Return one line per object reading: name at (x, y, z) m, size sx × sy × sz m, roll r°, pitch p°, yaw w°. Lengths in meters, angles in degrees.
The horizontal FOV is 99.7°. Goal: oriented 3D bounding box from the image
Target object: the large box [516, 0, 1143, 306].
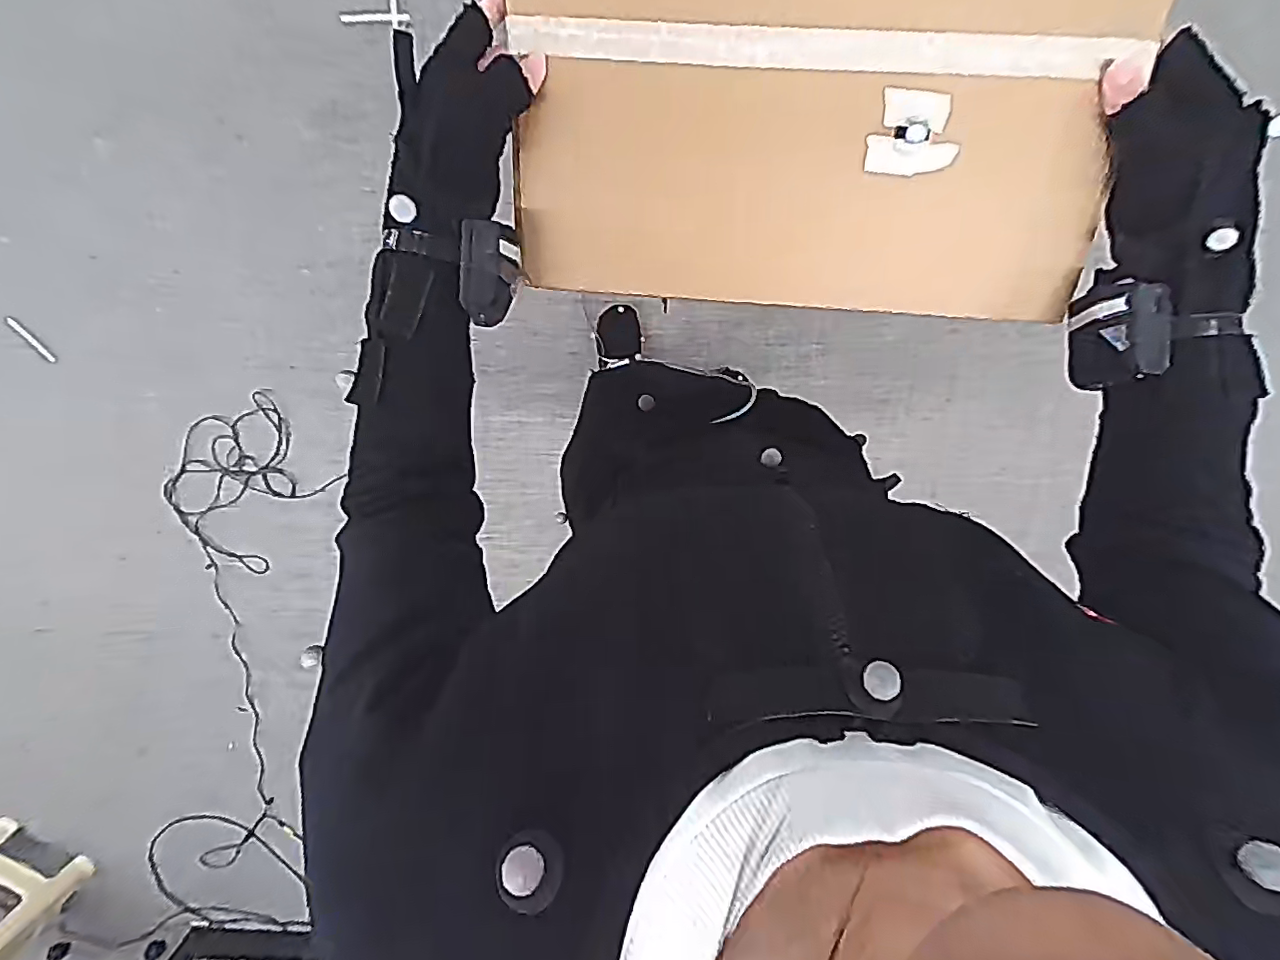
large box at (0.122, -0.339, 0.496) m, size 0.408 × 0.320 × 0.320 m, roll 4°, pitch 113°, yaw 3°
